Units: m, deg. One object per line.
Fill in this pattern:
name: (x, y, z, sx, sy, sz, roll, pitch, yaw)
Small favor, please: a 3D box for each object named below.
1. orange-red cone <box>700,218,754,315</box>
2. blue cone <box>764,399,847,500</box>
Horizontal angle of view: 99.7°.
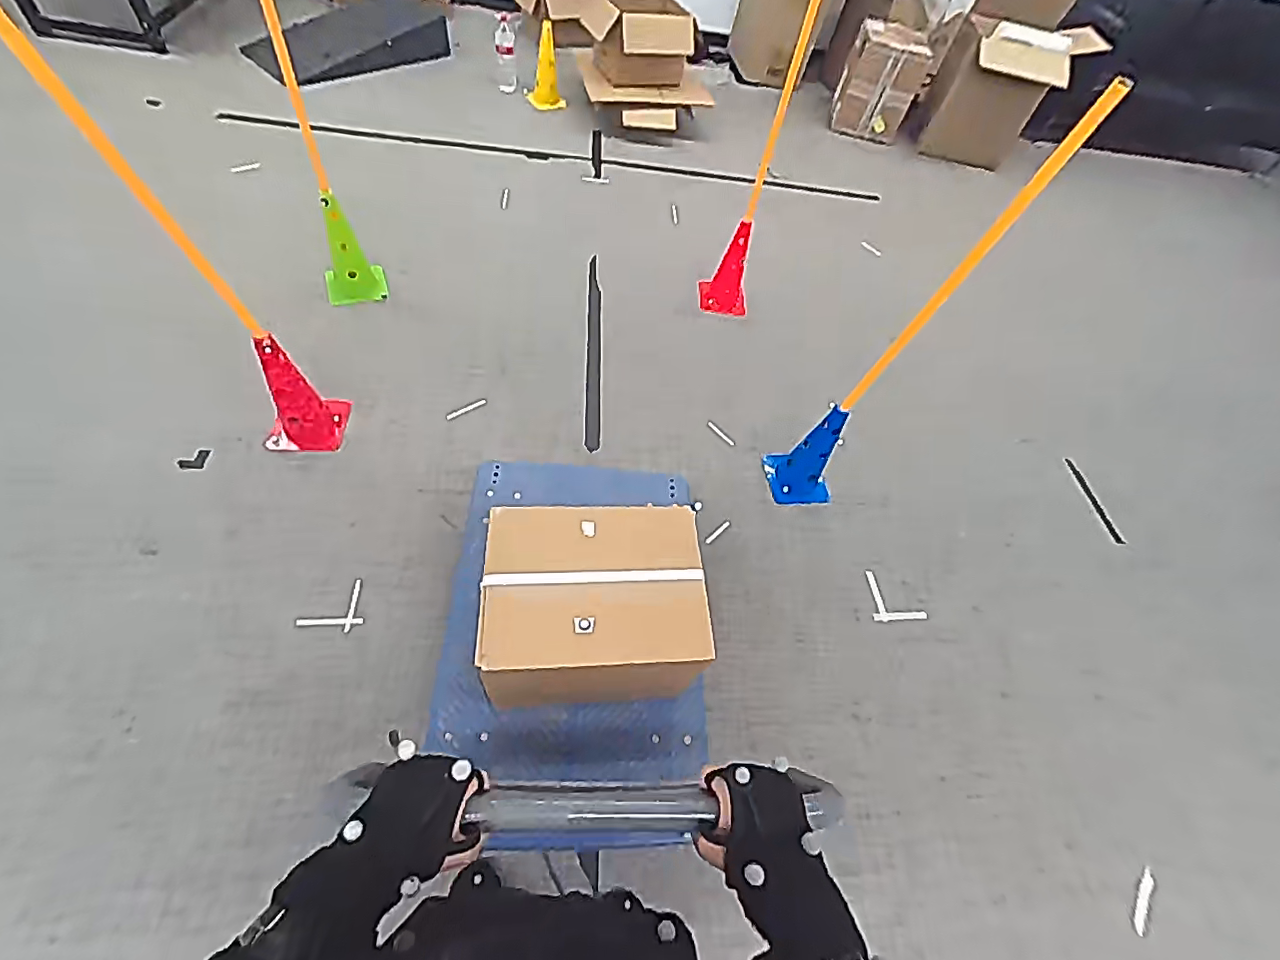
orange-red cone: (0.381, -0.869, 2.155, 0.199, 0.360, 0.198, 8, 56, -6)
blue cone: (0.551, -0.106, 1.689, 0.193, 0.380, 0.192, -1, 55, -11)
